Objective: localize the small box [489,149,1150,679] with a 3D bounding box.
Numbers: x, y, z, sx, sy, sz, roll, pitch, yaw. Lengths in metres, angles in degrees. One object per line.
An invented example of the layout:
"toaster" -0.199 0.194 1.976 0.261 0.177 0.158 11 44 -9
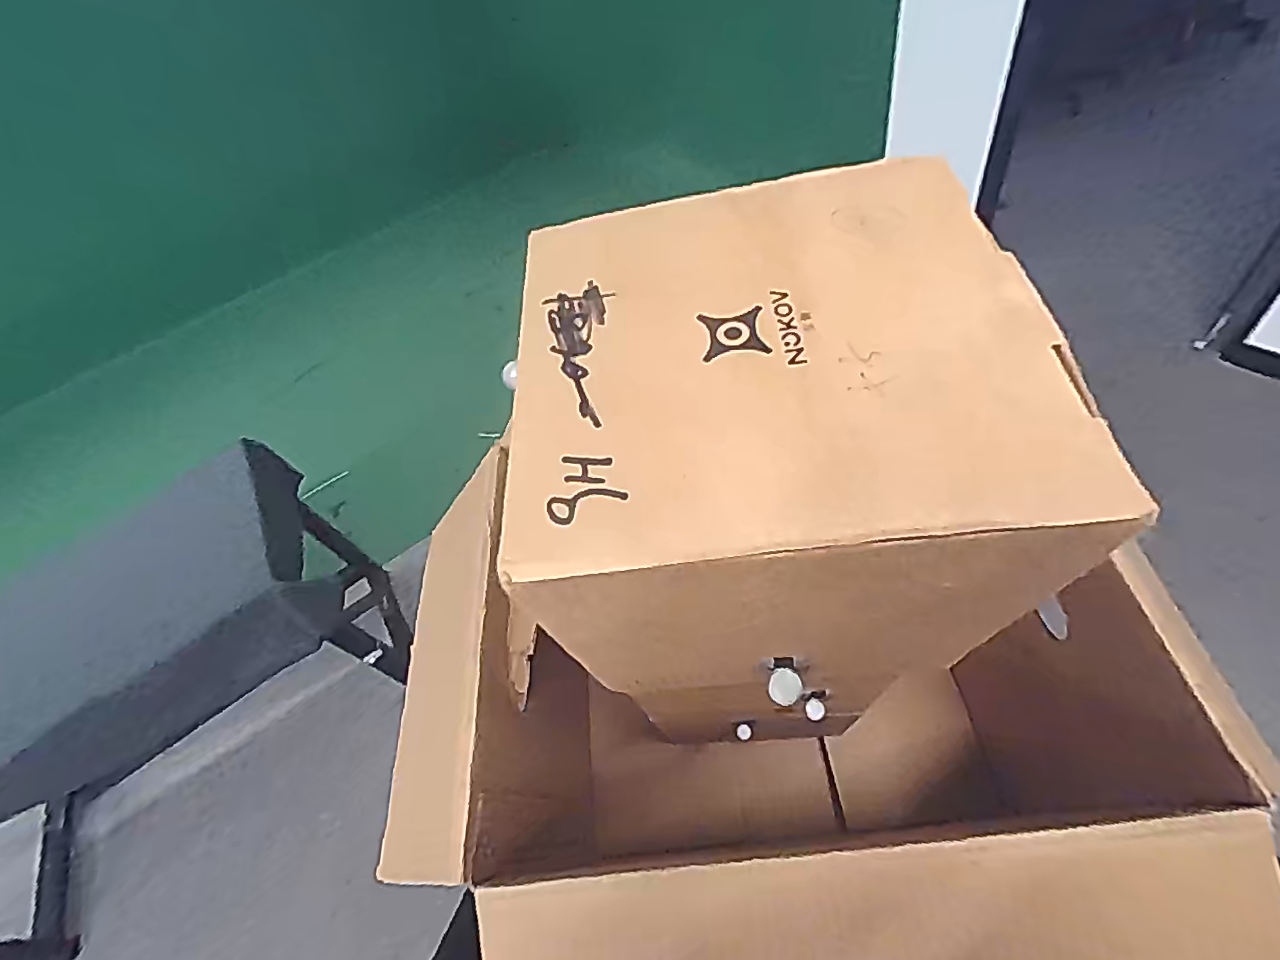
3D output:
"small box" 0.051 -0.013 0.251 0.179 0.176 0.168 -6 58 5
